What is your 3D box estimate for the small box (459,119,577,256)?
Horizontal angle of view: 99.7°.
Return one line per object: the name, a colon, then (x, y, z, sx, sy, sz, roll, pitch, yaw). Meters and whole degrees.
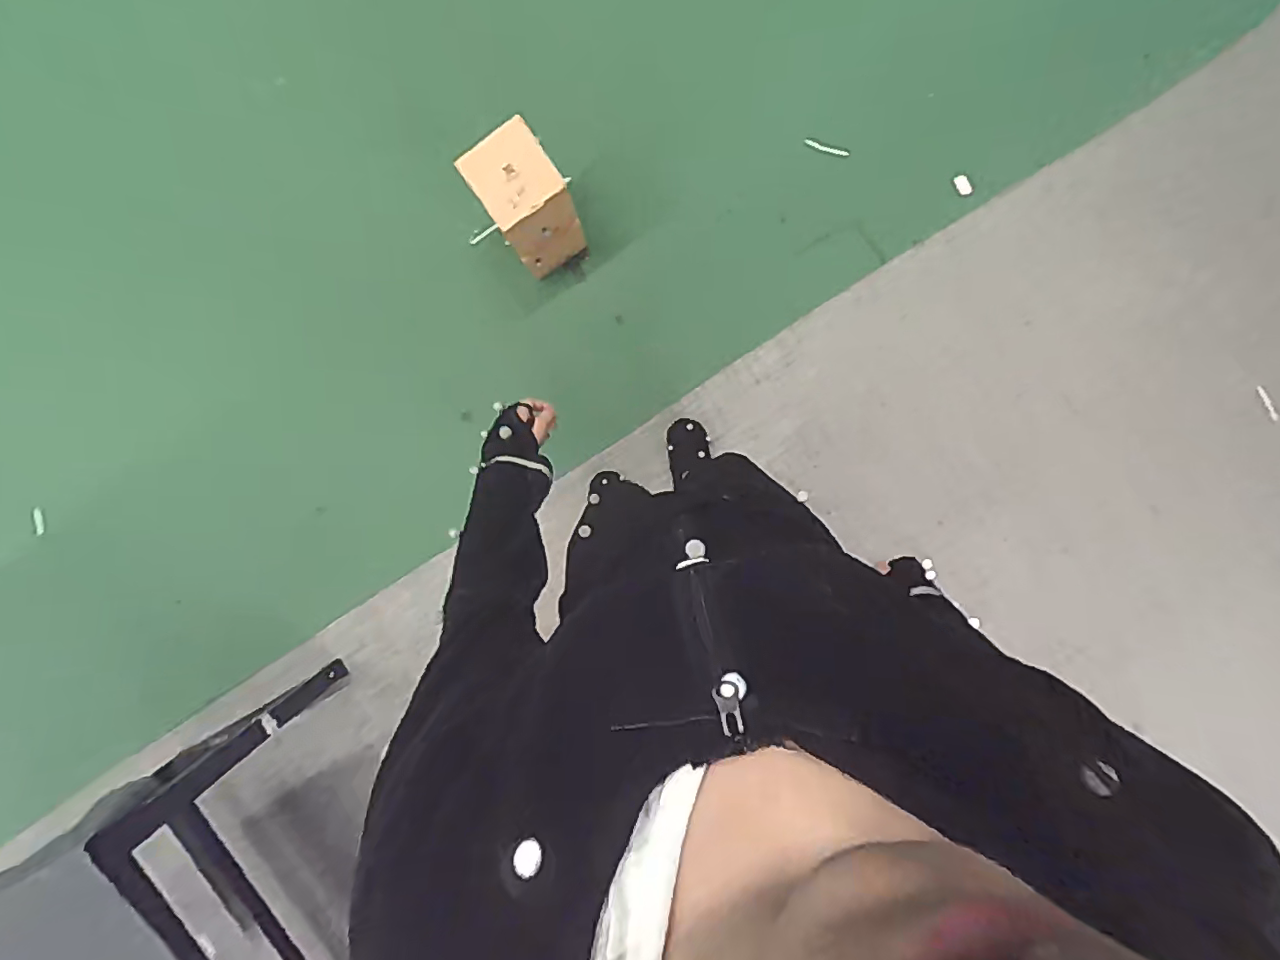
small box: (-0.261, -0.635, 1.198, 0.168, 0.176, 0.179, -35, 93, 4)
